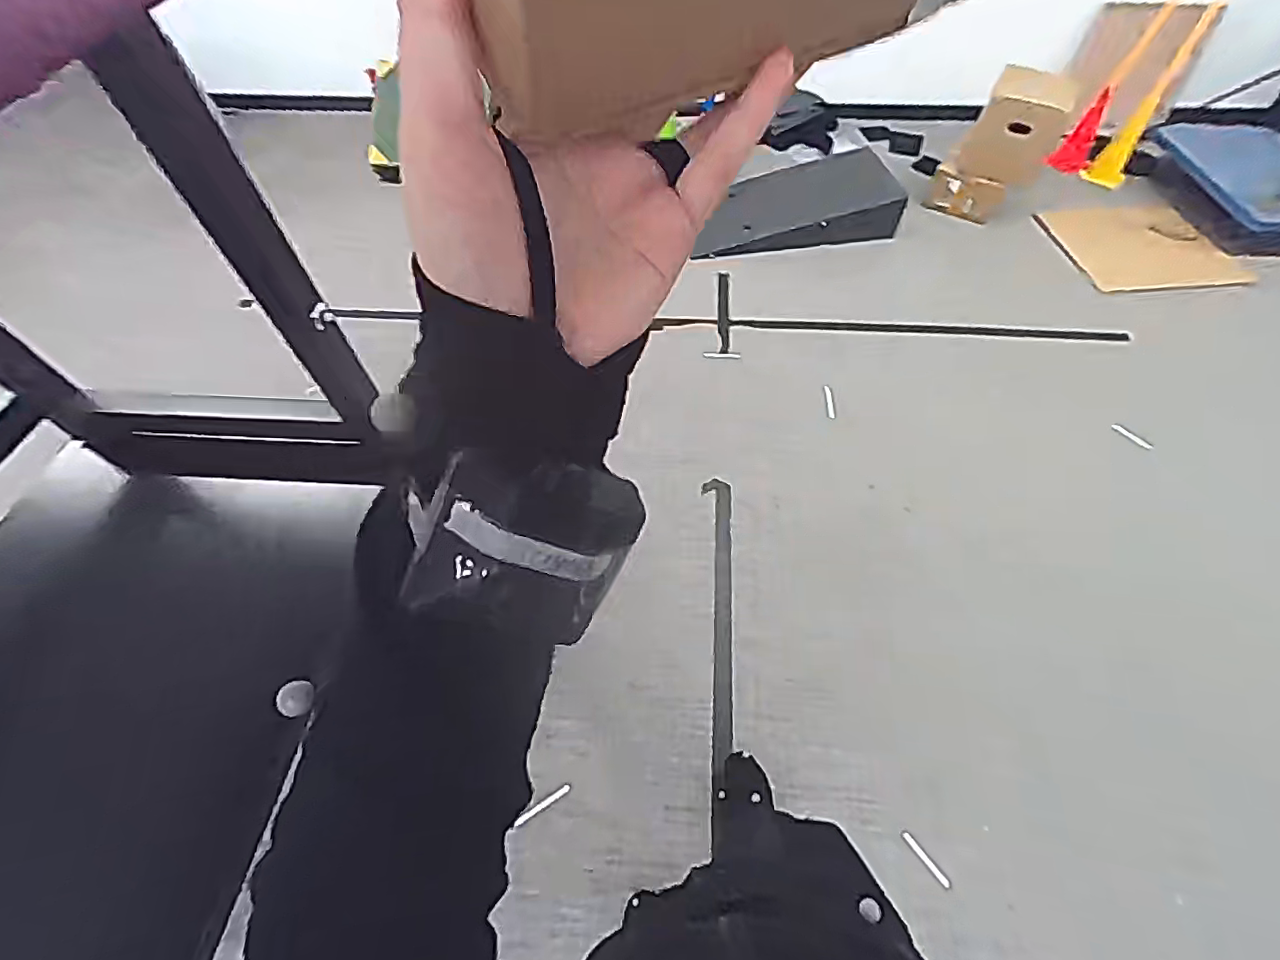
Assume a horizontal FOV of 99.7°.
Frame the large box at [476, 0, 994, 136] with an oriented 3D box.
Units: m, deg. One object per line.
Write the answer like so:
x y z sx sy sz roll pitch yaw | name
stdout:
0.032 -0.367 0.079 0.320 0.320 0.408 -27 82 -15 | large box
